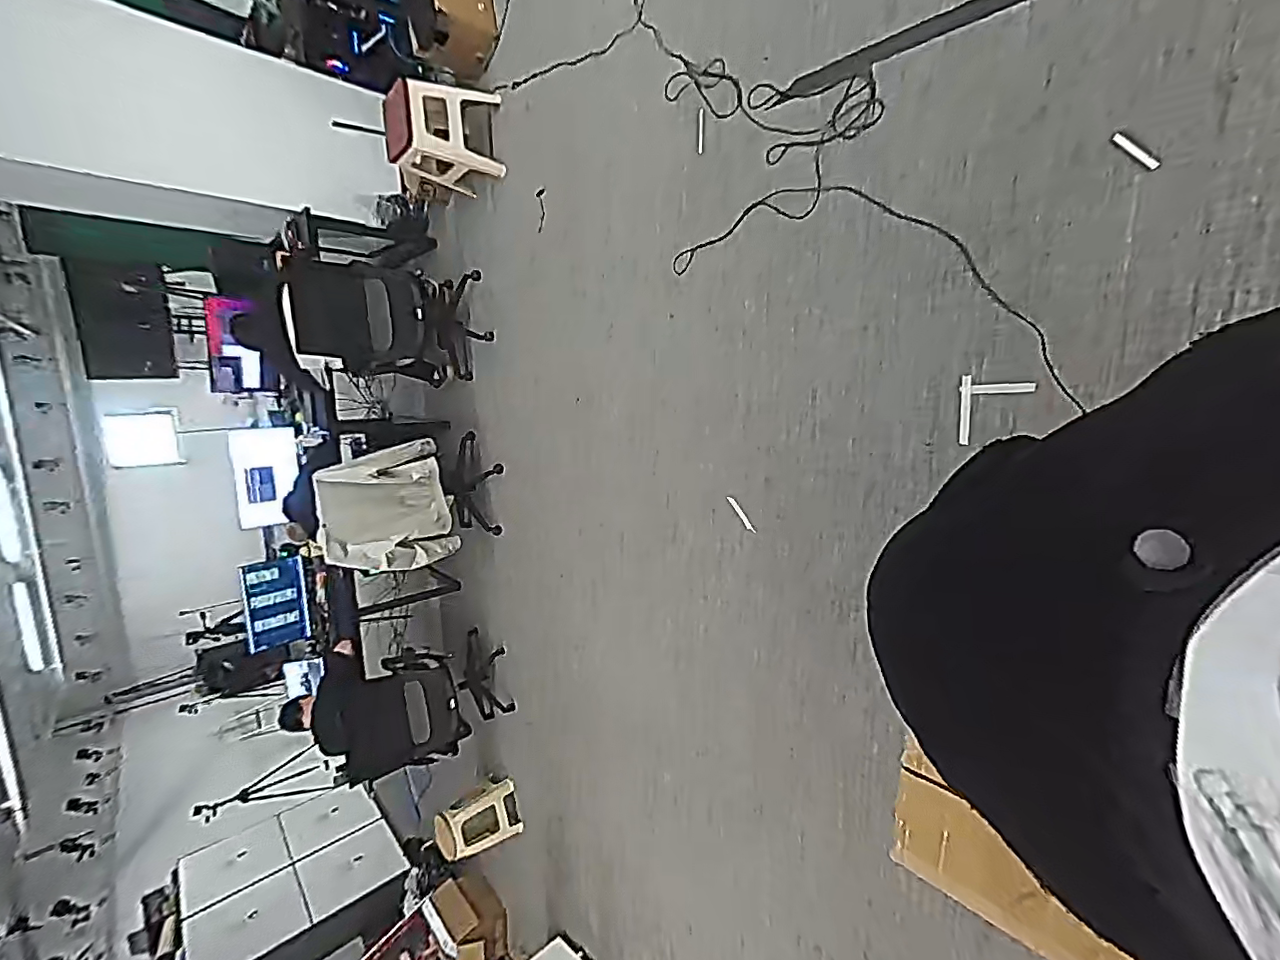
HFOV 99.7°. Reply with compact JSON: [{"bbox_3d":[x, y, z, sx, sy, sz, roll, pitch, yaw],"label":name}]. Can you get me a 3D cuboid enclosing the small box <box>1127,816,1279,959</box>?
[{"bbox_3d":[0.667,0.531,0.601,0.168,0.176,0.179,12,102,47],"label":"small box"}]
